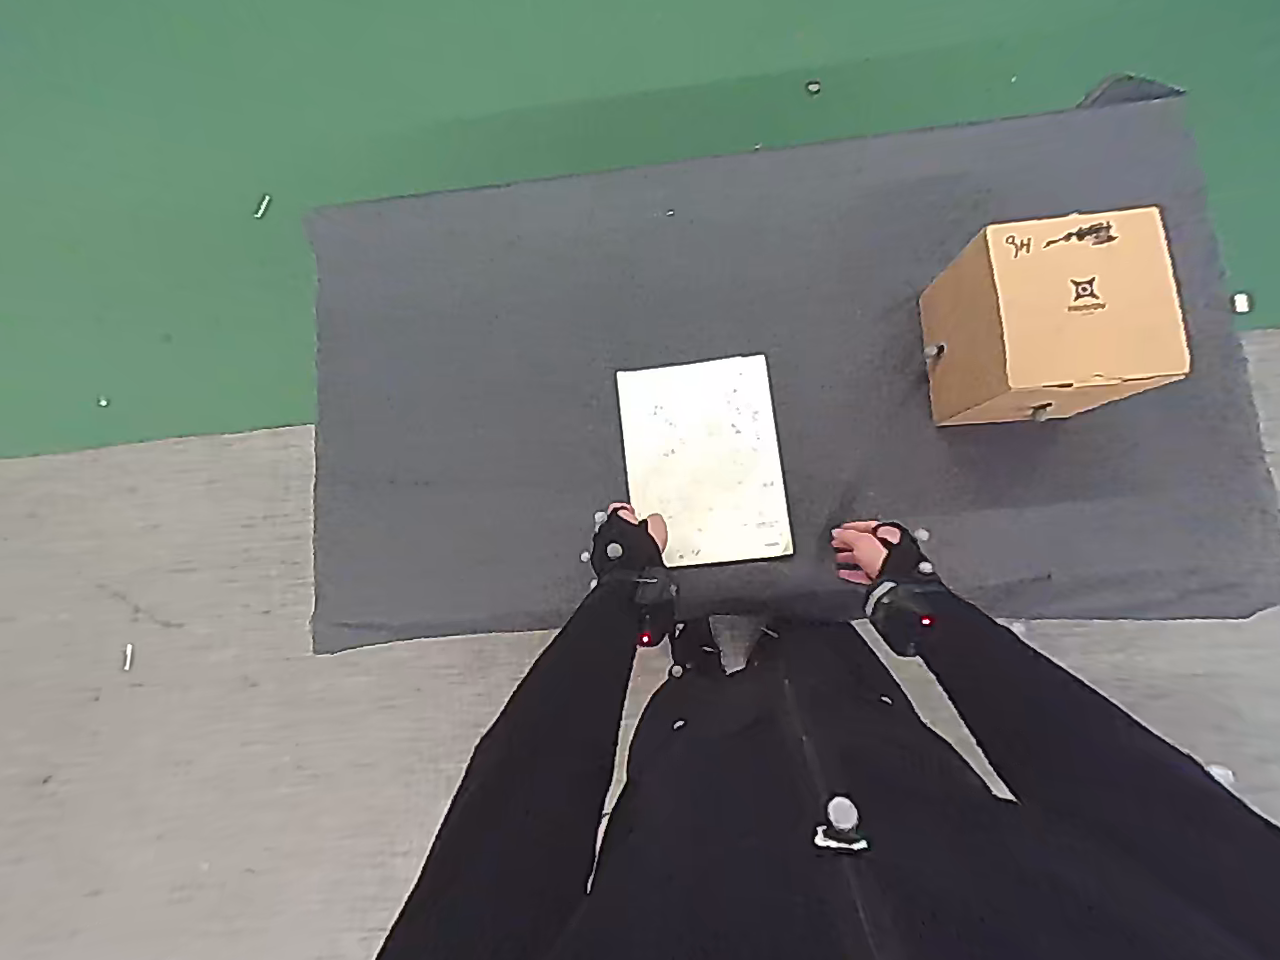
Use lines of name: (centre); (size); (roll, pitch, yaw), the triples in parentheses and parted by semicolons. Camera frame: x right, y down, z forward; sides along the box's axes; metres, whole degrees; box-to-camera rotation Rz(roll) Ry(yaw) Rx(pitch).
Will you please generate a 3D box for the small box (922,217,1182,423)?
small box: (0.445, -0.164, 0.615); (0.168, 0.176, 0.179); (-4, 85, 4)
